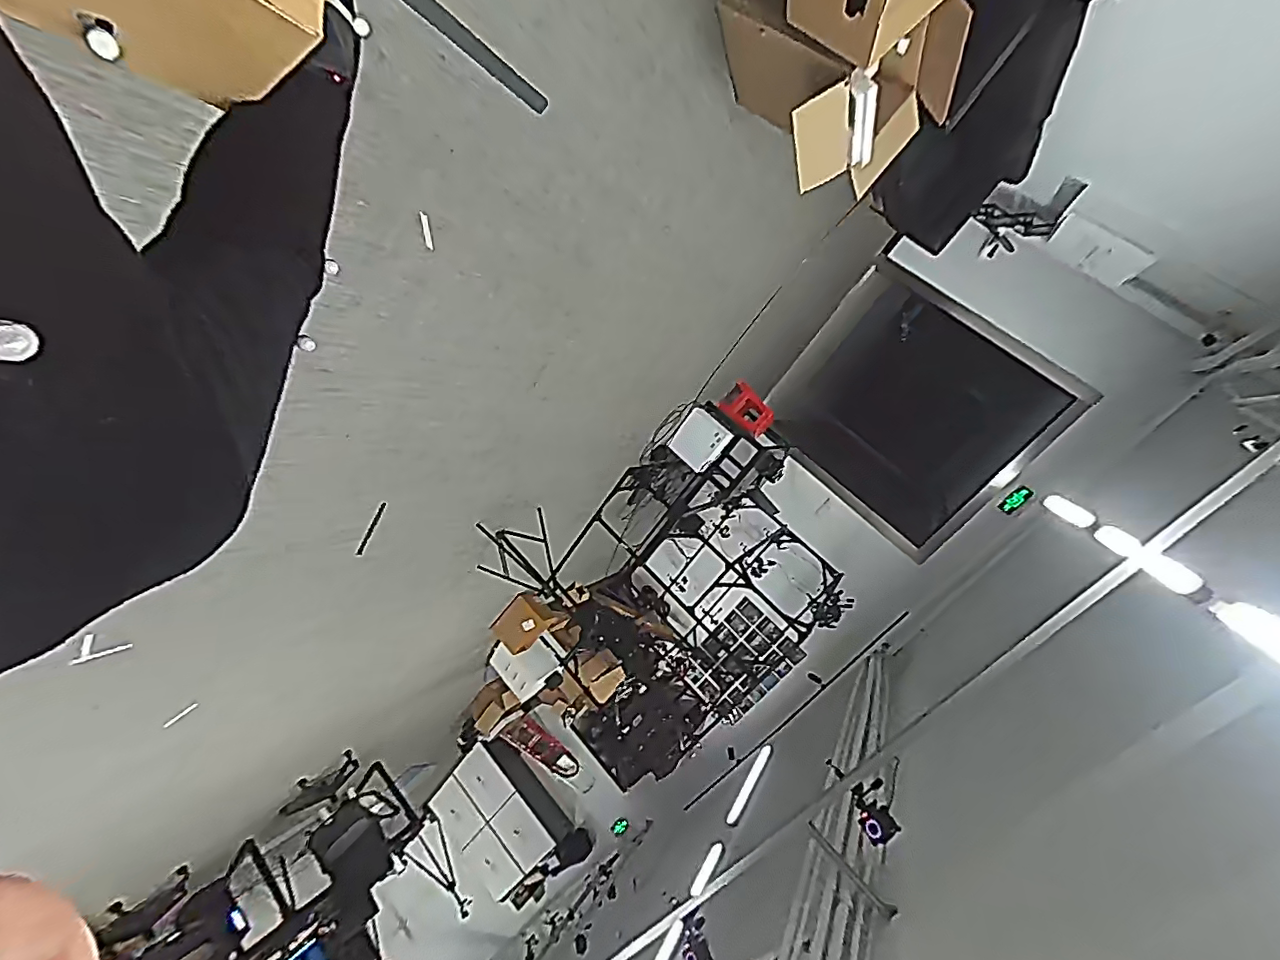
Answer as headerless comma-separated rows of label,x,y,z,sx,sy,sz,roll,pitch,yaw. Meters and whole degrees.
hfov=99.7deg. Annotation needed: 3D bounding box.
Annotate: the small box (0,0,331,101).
small box,-0.313,-0.376,0.335,0.179,0.176,0.168,3,94,-51
